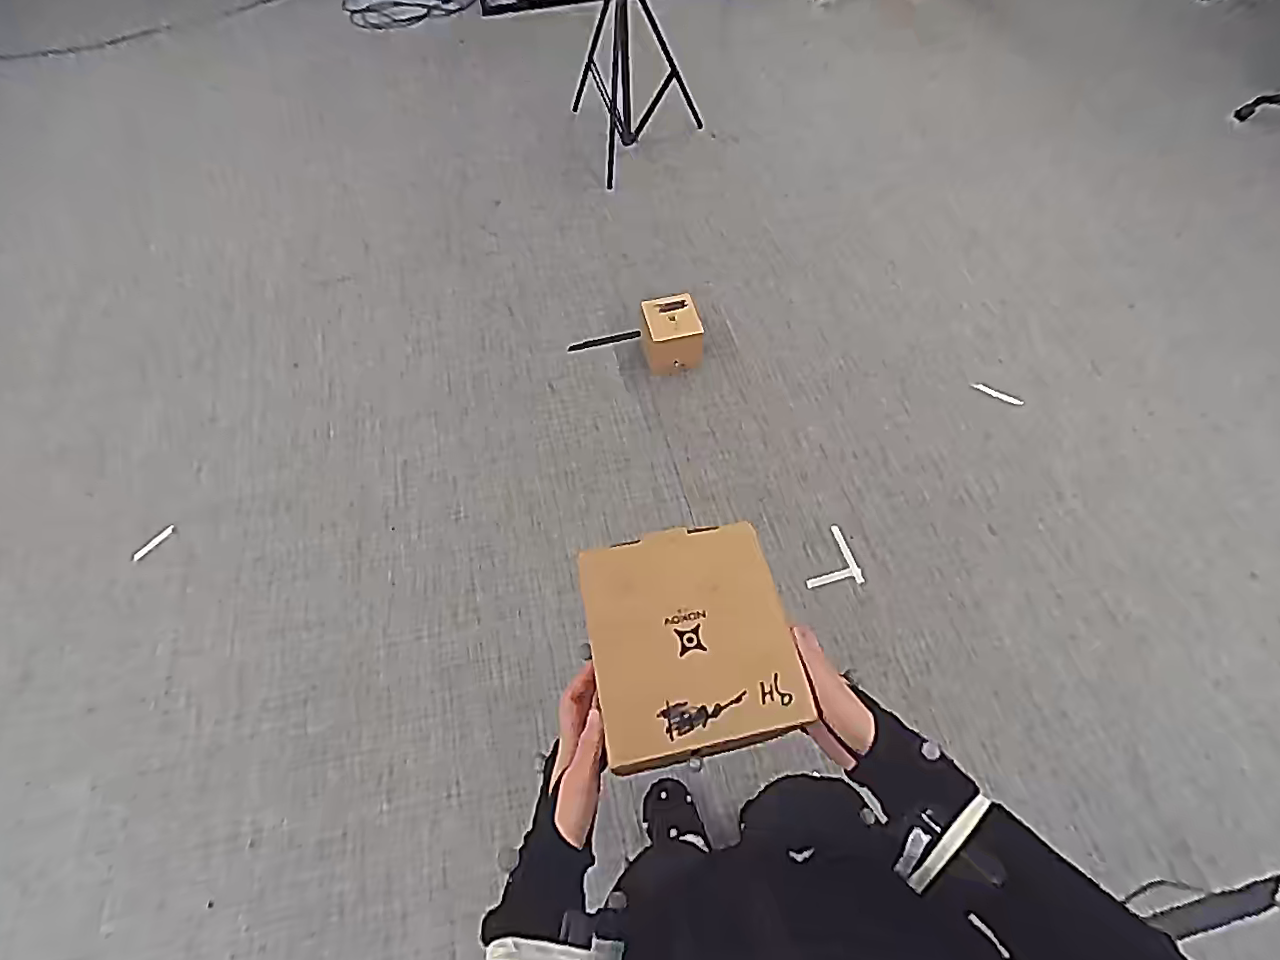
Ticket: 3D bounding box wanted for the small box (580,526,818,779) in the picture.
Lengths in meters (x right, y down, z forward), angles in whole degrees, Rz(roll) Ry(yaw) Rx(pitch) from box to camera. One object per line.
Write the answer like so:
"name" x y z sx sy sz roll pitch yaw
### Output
"small box" 0.038 0.167 0.513 0.168 0.176 0.179 -10 60 -7
